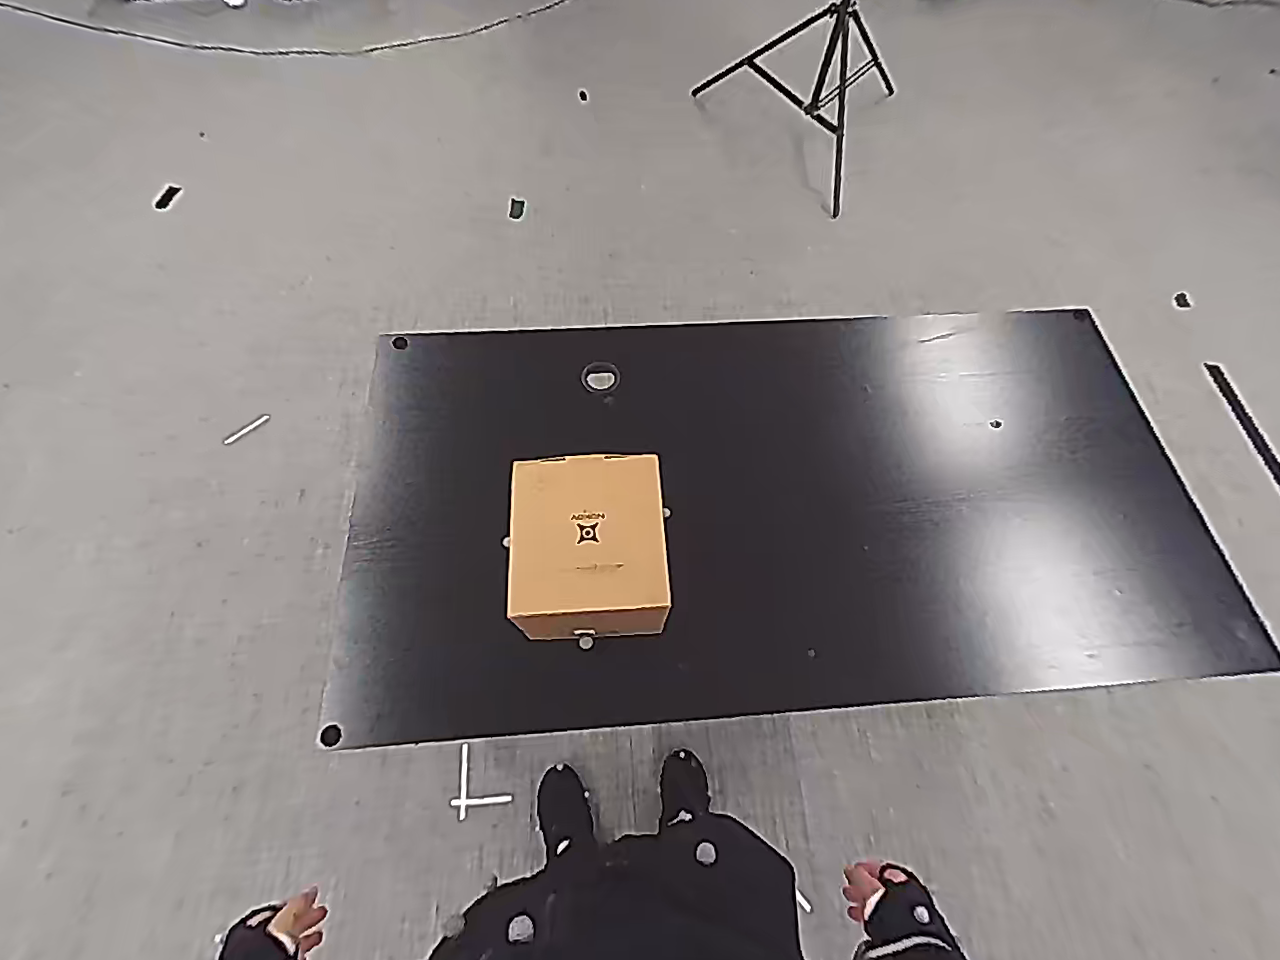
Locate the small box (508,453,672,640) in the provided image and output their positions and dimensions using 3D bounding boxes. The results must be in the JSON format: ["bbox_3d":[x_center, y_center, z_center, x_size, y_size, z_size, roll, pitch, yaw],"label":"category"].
[{"bbox_3d":[-0.057,0.084,0.642,0.168,0.176,0.179,-4,66,-3],"label":"small box"}]
